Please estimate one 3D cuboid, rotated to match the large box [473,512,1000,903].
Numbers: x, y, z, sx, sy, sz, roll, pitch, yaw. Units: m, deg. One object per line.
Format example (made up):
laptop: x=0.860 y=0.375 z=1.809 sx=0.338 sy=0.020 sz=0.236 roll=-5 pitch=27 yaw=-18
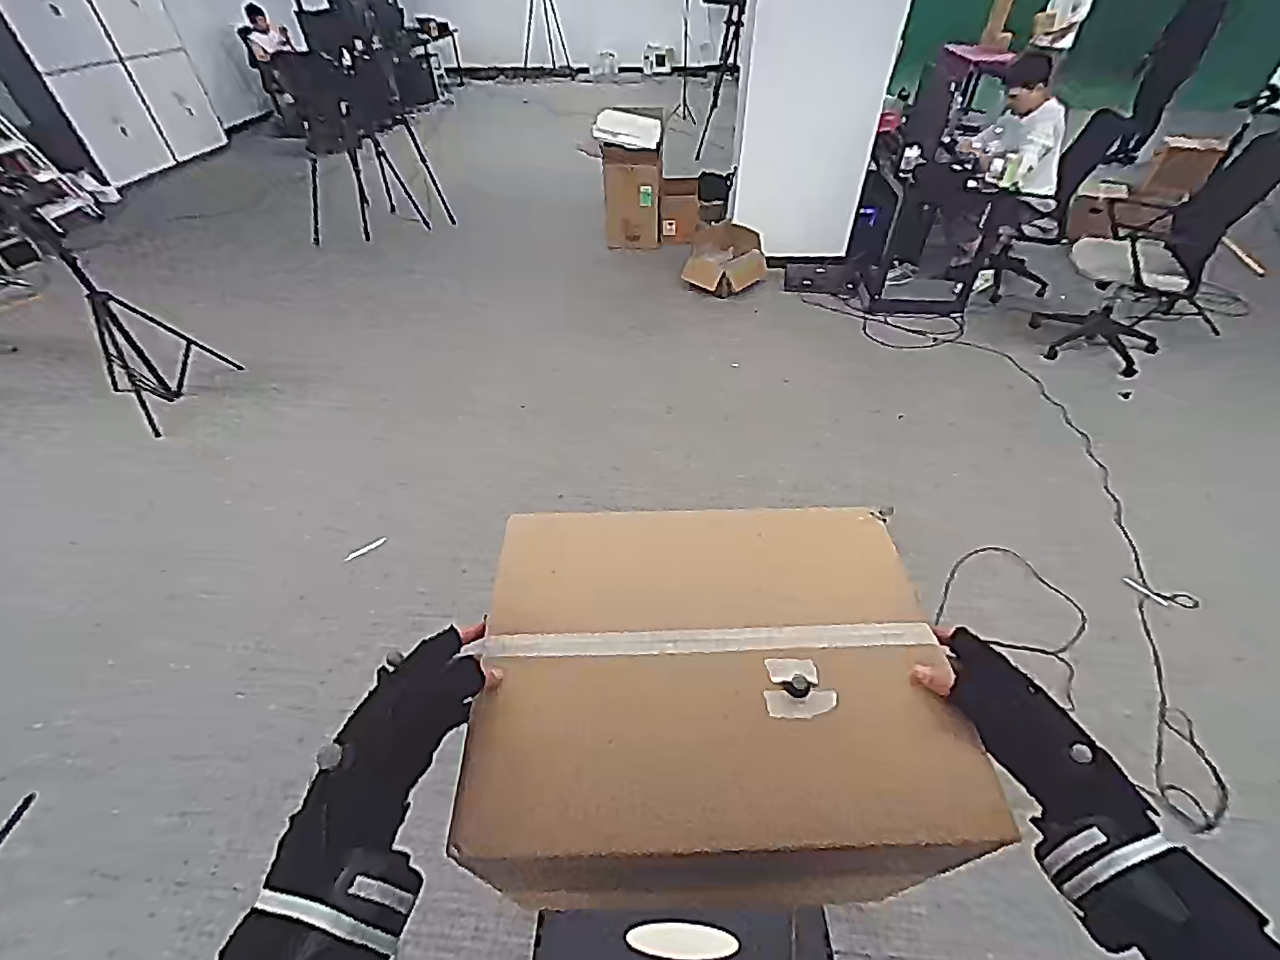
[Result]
large box: x=0.067 y=0.253 z=0.607 sx=0.408 sy=0.320 sz=0.320 roll=-1 pitch=47 yaw=-1
